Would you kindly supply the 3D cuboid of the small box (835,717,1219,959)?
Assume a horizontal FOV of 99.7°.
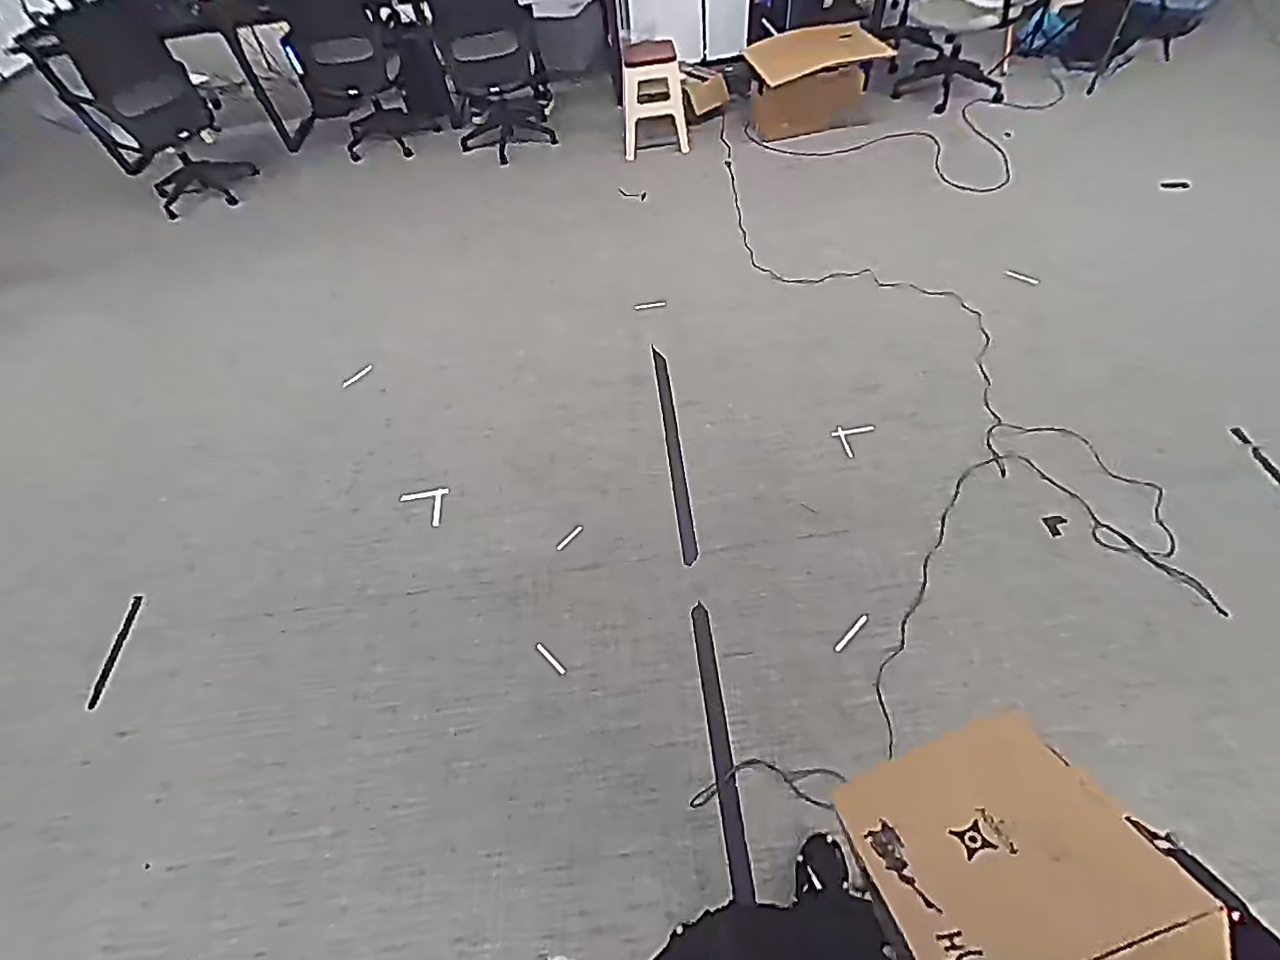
[{"bbox_3d":[0.288,0.335,0.426,0.179,0.176,0.168,-24,18,1],"label":"small box"}]
